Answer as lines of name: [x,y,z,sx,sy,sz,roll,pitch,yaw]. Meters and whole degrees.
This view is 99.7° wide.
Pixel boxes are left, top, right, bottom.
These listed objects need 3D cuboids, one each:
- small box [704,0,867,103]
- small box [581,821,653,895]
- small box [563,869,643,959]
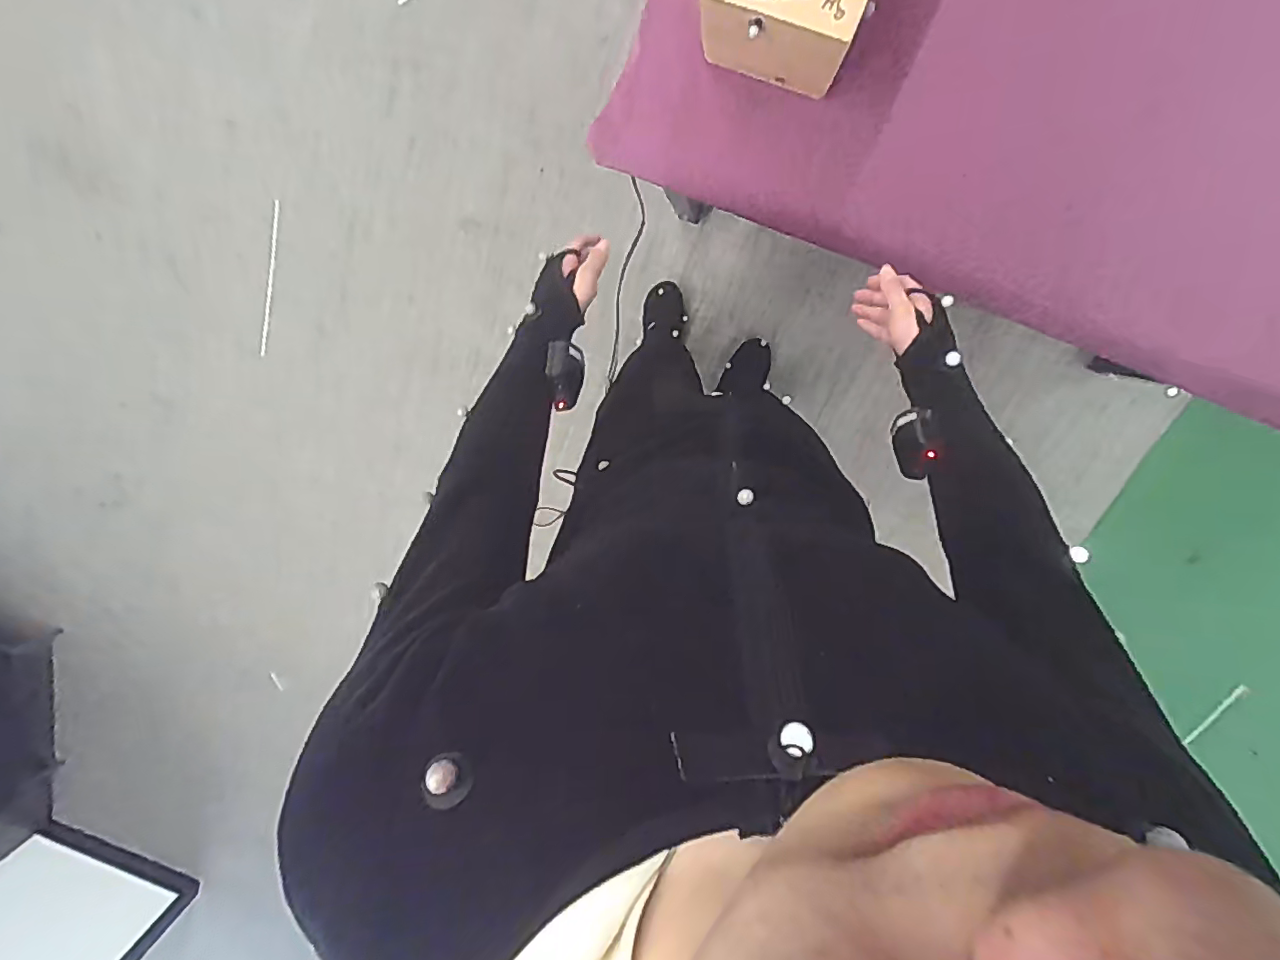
small box: [0.174,-0.566,0.599,0.168,0.176,0.179,21,109,3]
small box: [-0.071,1.283,1.785,0.168,0.176,0.179,27,111,1]
small box: [-0.105,1.337,1.634,0.168,0.176,0.179,28,111,1]
